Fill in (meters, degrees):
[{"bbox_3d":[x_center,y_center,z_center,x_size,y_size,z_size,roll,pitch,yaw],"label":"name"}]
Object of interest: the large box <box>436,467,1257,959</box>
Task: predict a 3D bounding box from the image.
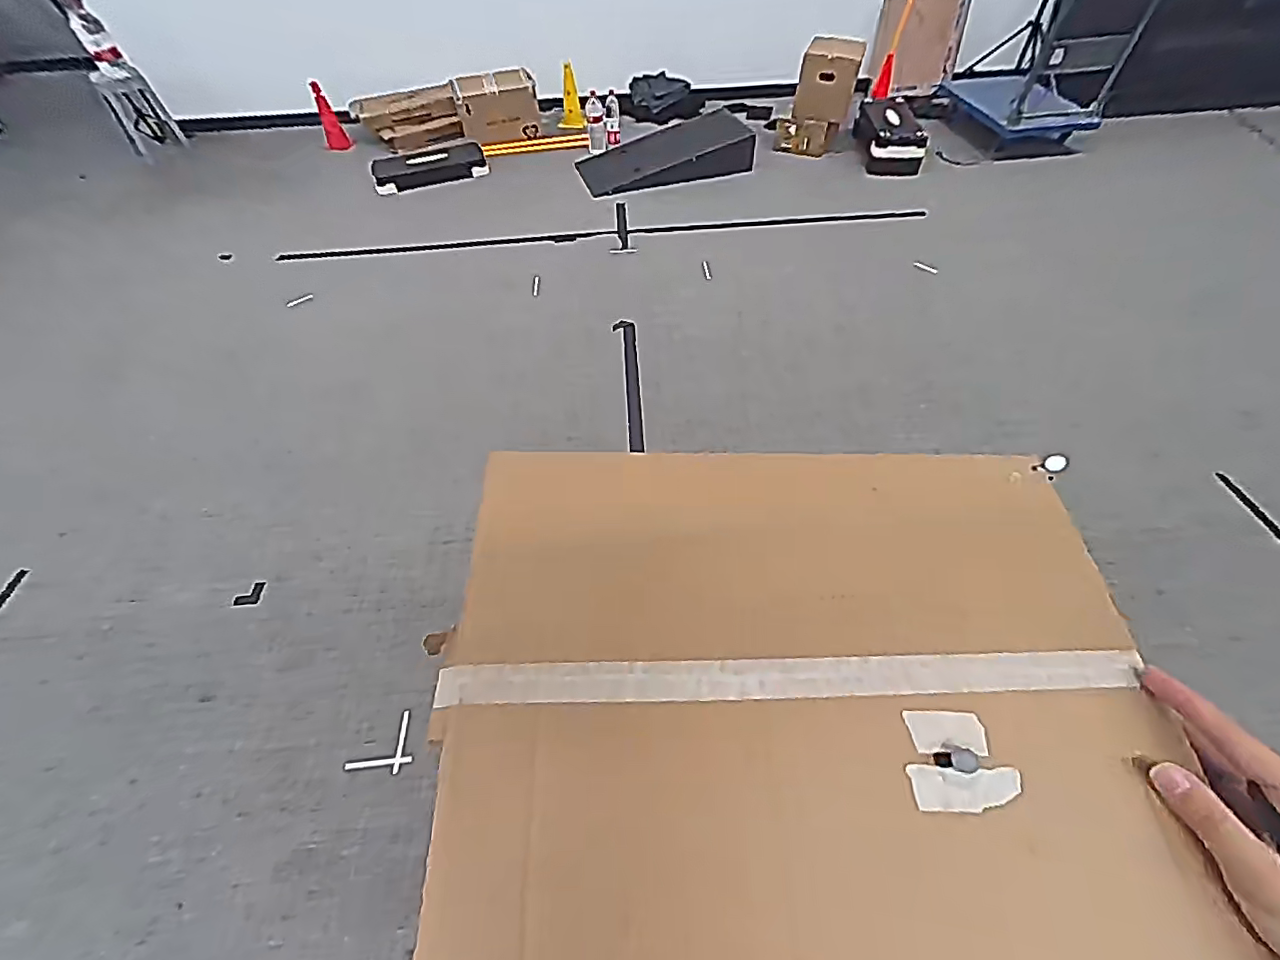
[{"bbox_3d":[0.087,0.200,0.446,0.408,0.320,0.320,0,58,-4],"label":"large box"}]
